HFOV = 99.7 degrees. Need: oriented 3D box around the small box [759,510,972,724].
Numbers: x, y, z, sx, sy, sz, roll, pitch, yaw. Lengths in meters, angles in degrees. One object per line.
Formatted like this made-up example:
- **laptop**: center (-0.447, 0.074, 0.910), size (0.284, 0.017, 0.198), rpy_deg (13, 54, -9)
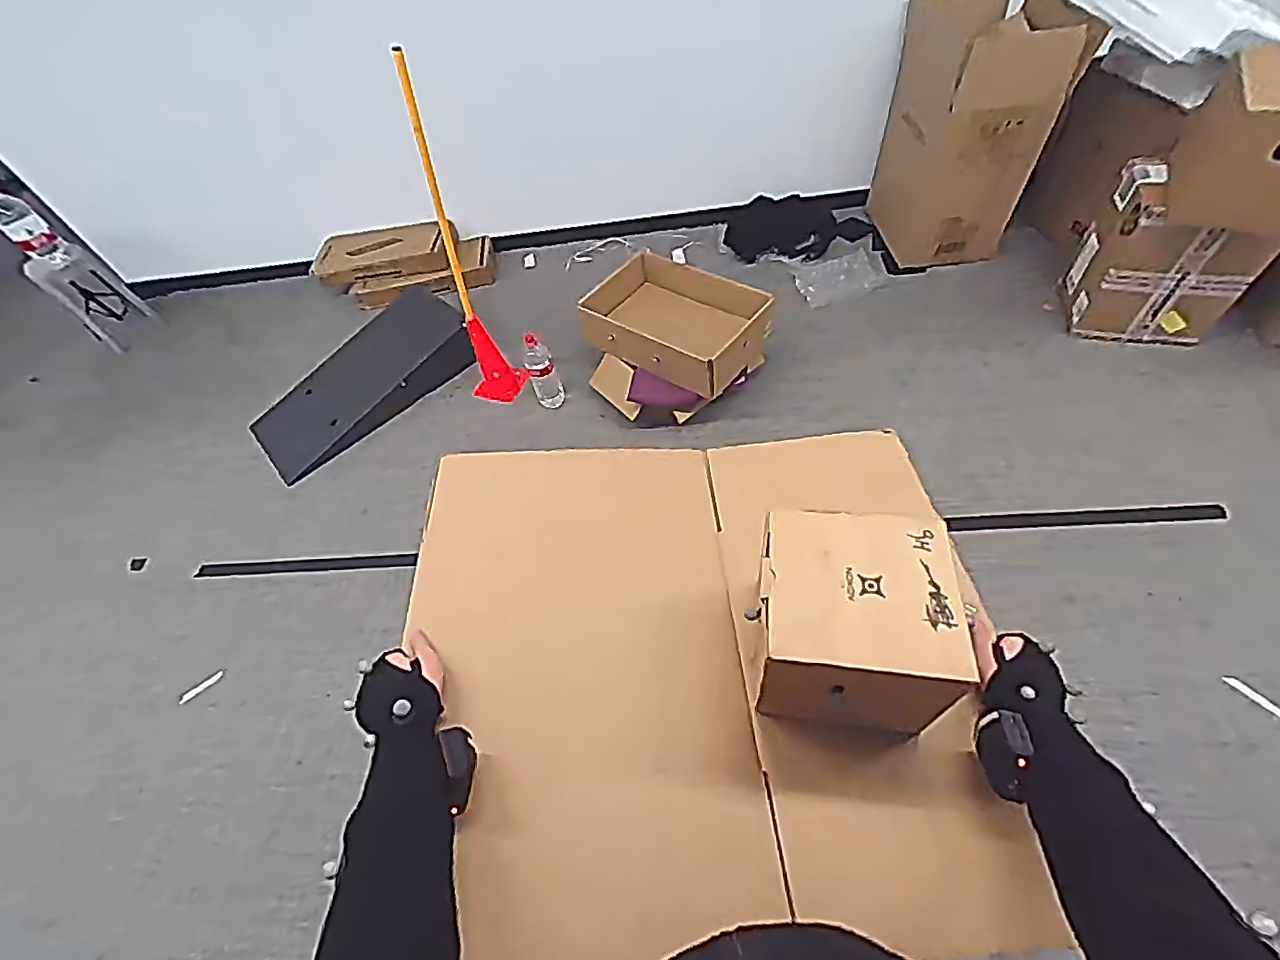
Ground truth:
- **small box**: center (0.221, 0.150, 0.582), size (0.179, 0.176, 0.168), rpy_deg (3, 53, 11)
